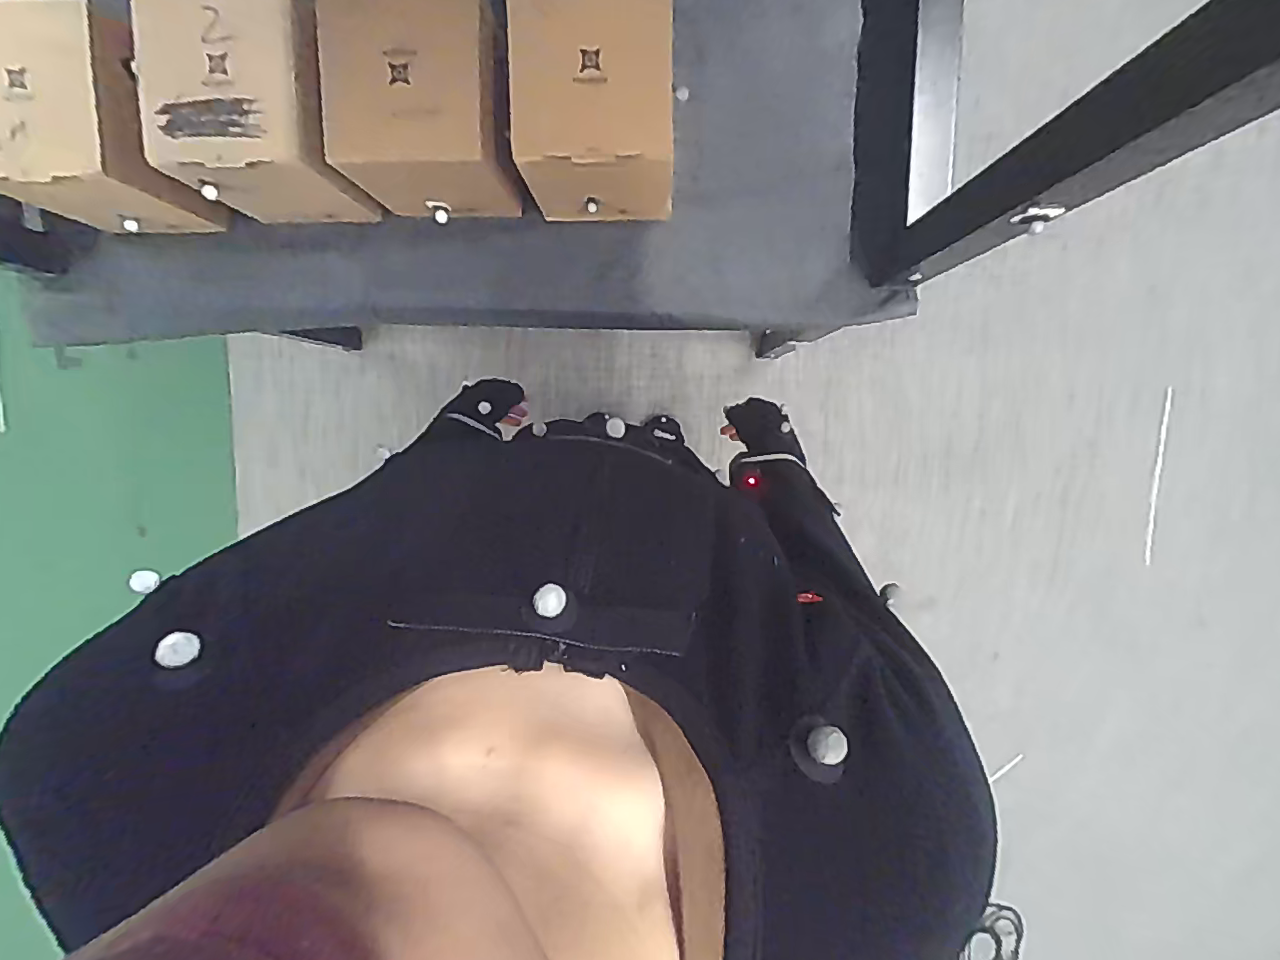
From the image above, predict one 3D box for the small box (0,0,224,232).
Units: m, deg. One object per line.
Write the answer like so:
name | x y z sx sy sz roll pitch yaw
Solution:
small box | -0.630 -0.409 0.629 0.168 0.176 0.179 0 97 1
